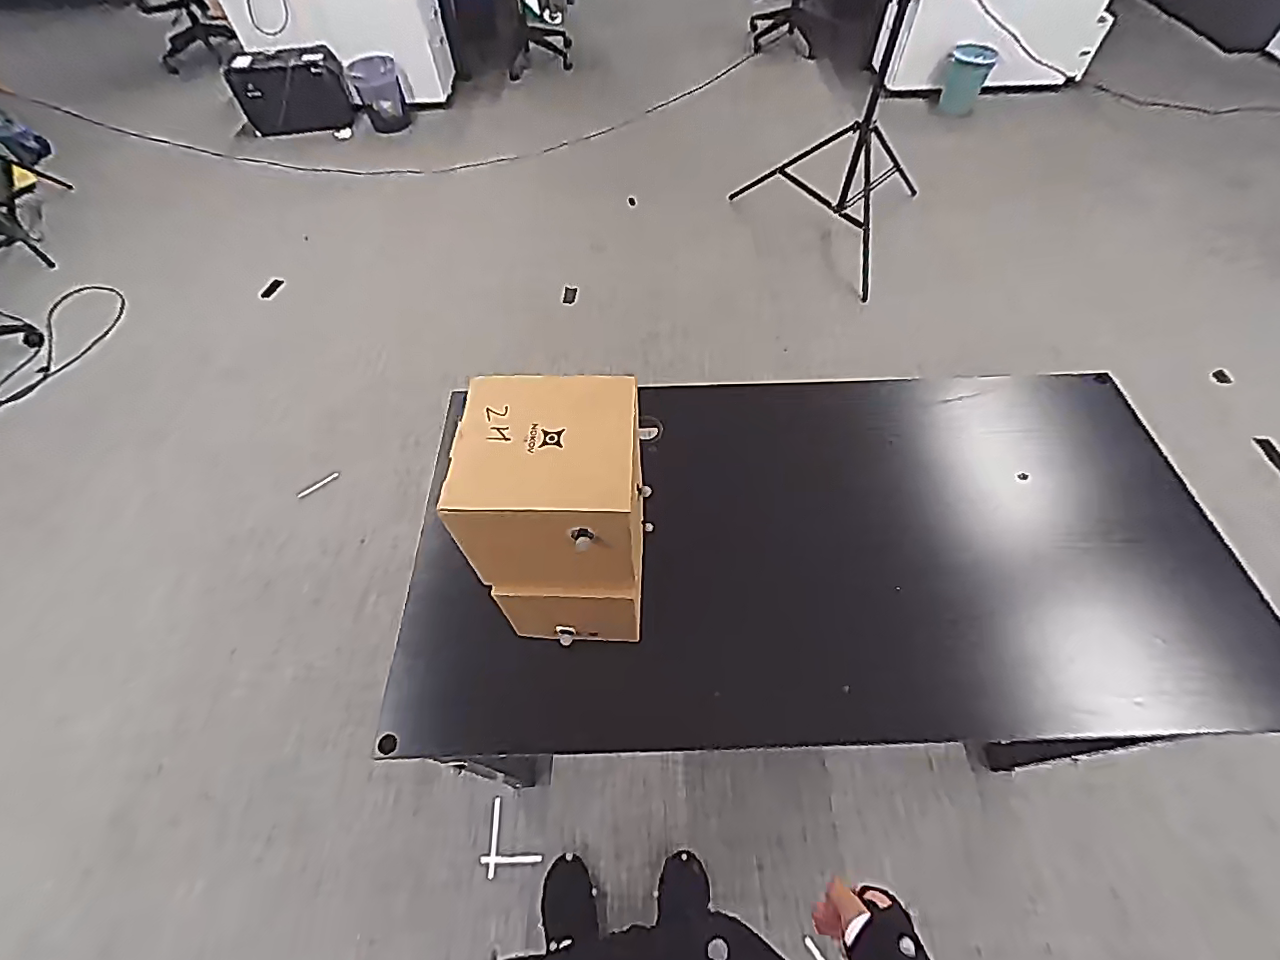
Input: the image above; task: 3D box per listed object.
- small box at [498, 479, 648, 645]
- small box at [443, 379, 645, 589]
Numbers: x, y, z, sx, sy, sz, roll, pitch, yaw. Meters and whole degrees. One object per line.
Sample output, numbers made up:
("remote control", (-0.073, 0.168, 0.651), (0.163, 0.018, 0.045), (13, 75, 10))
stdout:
("small box", (-0.075, 0.106, 0.719), (0.168, 0.176, 0.179), (0, 57, 3))
("small box", (-0.084, 0.009, 0.585), (0.179, 0.176, 0.168), (0, 56, 3))
